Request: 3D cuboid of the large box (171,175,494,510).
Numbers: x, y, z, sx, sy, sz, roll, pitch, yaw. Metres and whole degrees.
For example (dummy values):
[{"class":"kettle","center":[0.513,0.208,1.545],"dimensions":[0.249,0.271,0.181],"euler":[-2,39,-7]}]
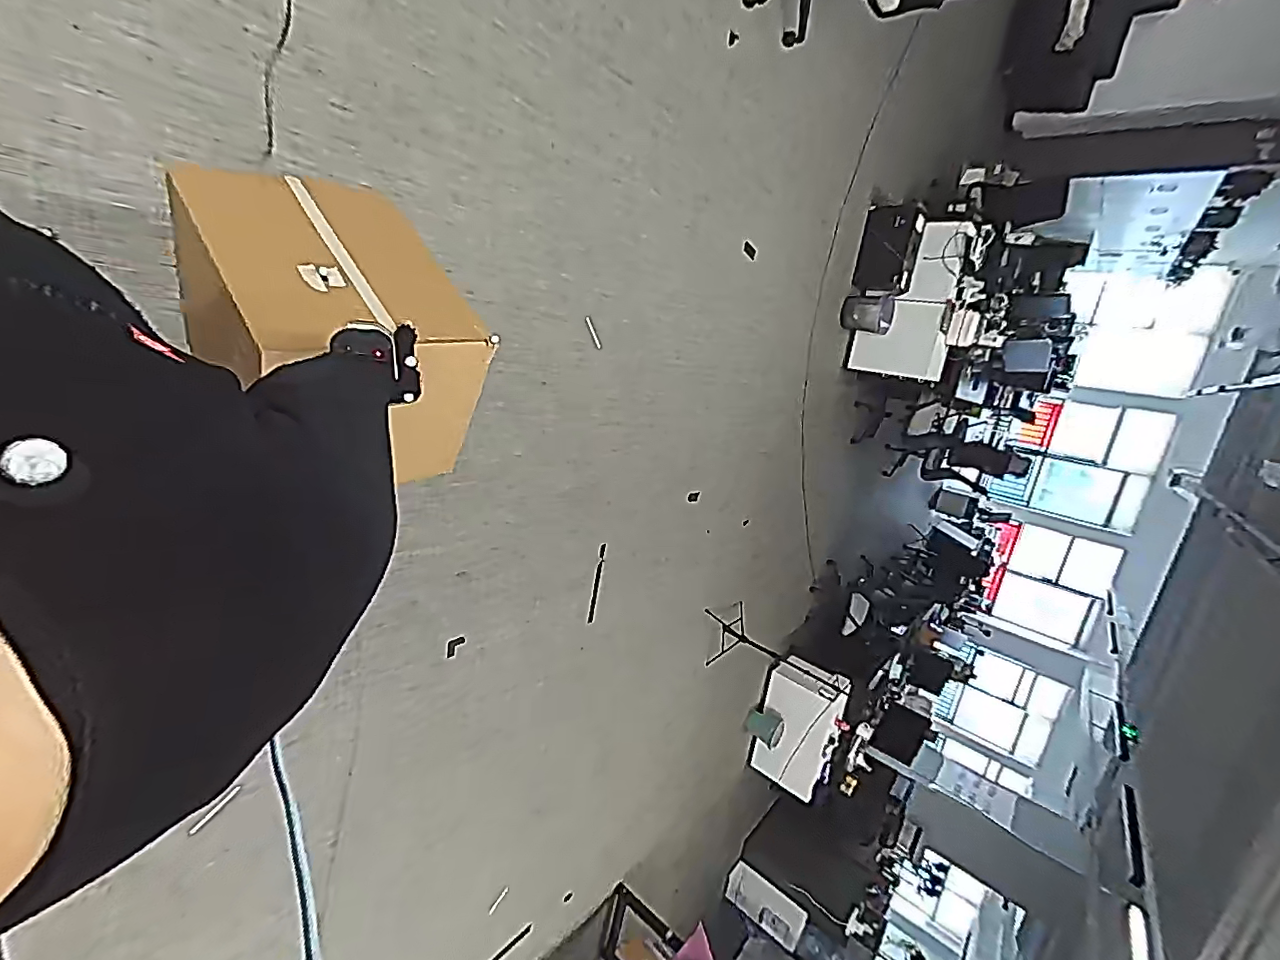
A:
[{"class":"large box","center":[-0.516,-0.223,0.901],"dimensions":[0.320,0.408,0.320],"euler":[-18,154,-44]}]
